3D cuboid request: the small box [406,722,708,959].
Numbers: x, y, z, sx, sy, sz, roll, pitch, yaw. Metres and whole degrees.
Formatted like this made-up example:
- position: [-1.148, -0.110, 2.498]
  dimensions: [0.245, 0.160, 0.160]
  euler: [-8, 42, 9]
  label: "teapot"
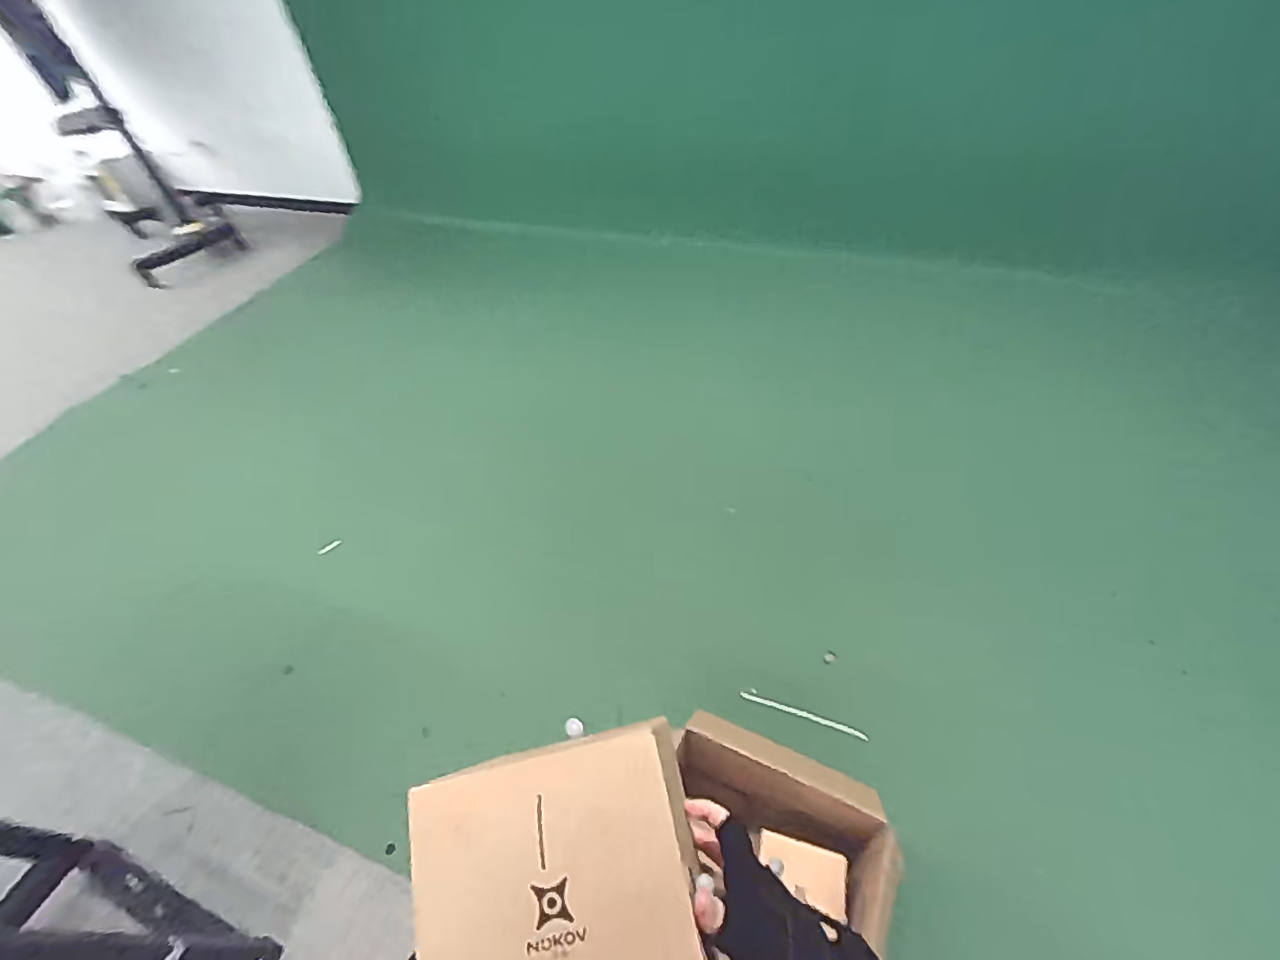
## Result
- position: [-0.048, 0.287, 0.392]
  dimensions: [0.168, 0.176, 0.179]
  euler: [-14, 66, -1]
  label: "small box"
